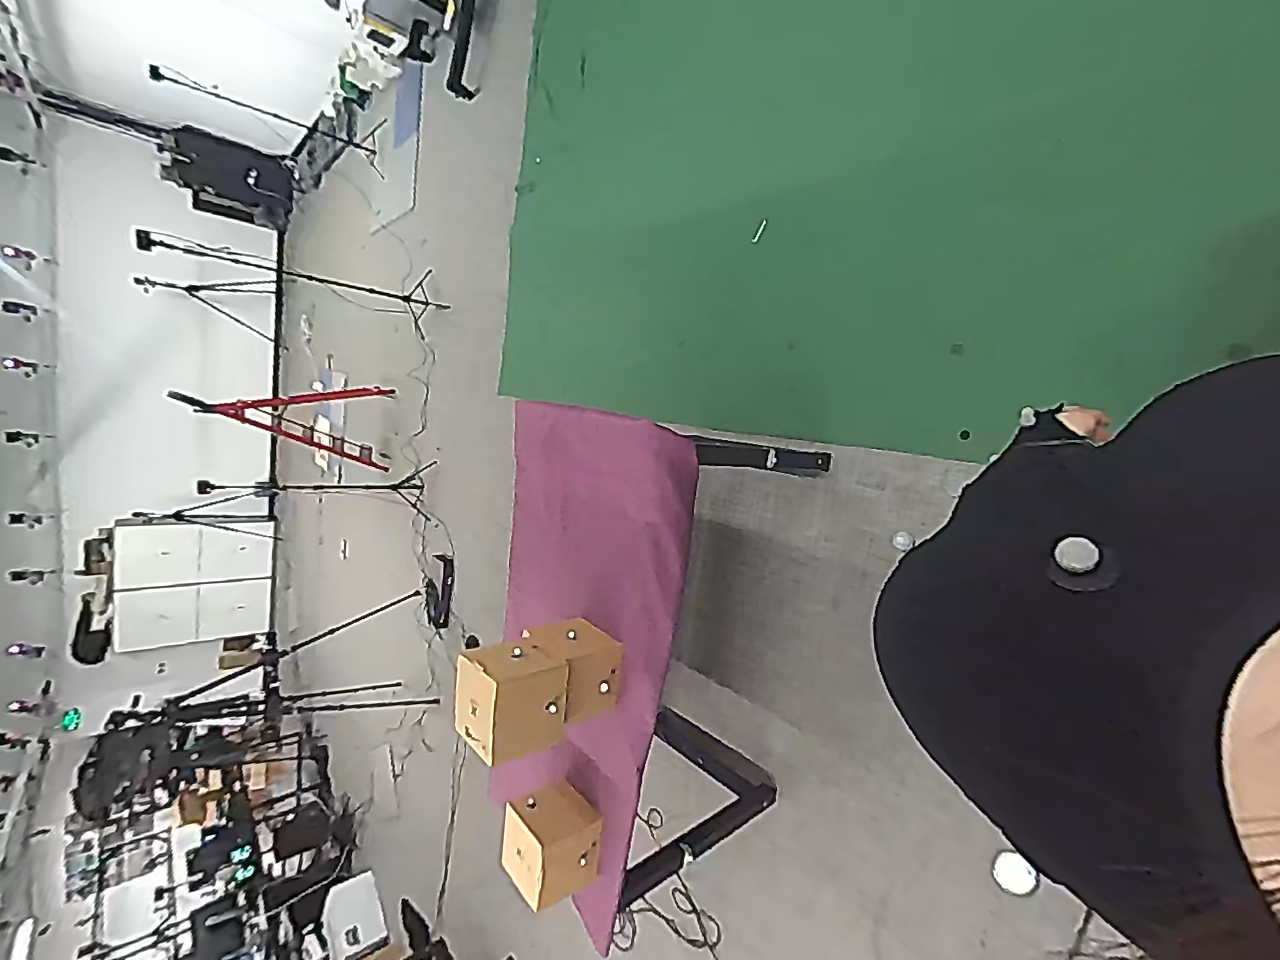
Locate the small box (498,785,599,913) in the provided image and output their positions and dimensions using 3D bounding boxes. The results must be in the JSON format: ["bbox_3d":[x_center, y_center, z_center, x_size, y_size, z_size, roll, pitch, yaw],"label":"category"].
[{"bbox_3d":[-0.221,0.873,1.304,0.179,0.176,0.168,13,99,48],"label":"small box"}]

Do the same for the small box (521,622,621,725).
[{"bbox_3d":[-0.169,0.443,1.262,0.179,0.176,0.168,16,101,46],"label":"small box"}]

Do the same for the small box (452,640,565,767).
[{"bbox_3d":[-0.273,0.453,1.133,0.168,0.176,0.179,12,98,47],"label":"small box"}]
